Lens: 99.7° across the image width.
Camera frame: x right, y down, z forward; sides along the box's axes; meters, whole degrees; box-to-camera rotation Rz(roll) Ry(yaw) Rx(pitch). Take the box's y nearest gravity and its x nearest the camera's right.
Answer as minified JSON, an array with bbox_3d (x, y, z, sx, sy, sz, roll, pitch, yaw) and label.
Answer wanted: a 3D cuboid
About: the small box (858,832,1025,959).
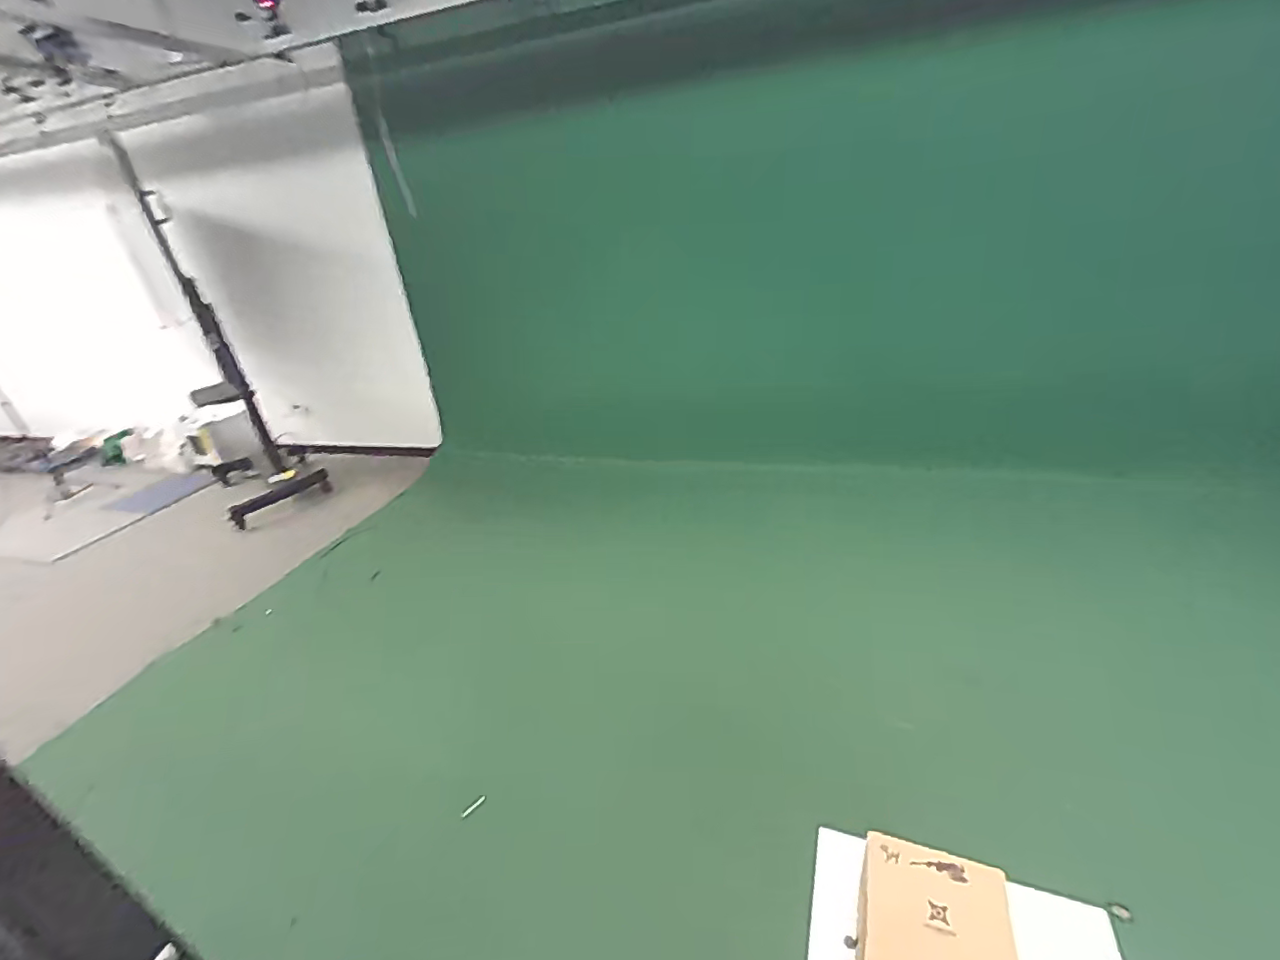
[{"bbox_3d":[0.371,0.602,0.682,0.168,0.176,0.179,6,30,22],"label":"small box"}]
